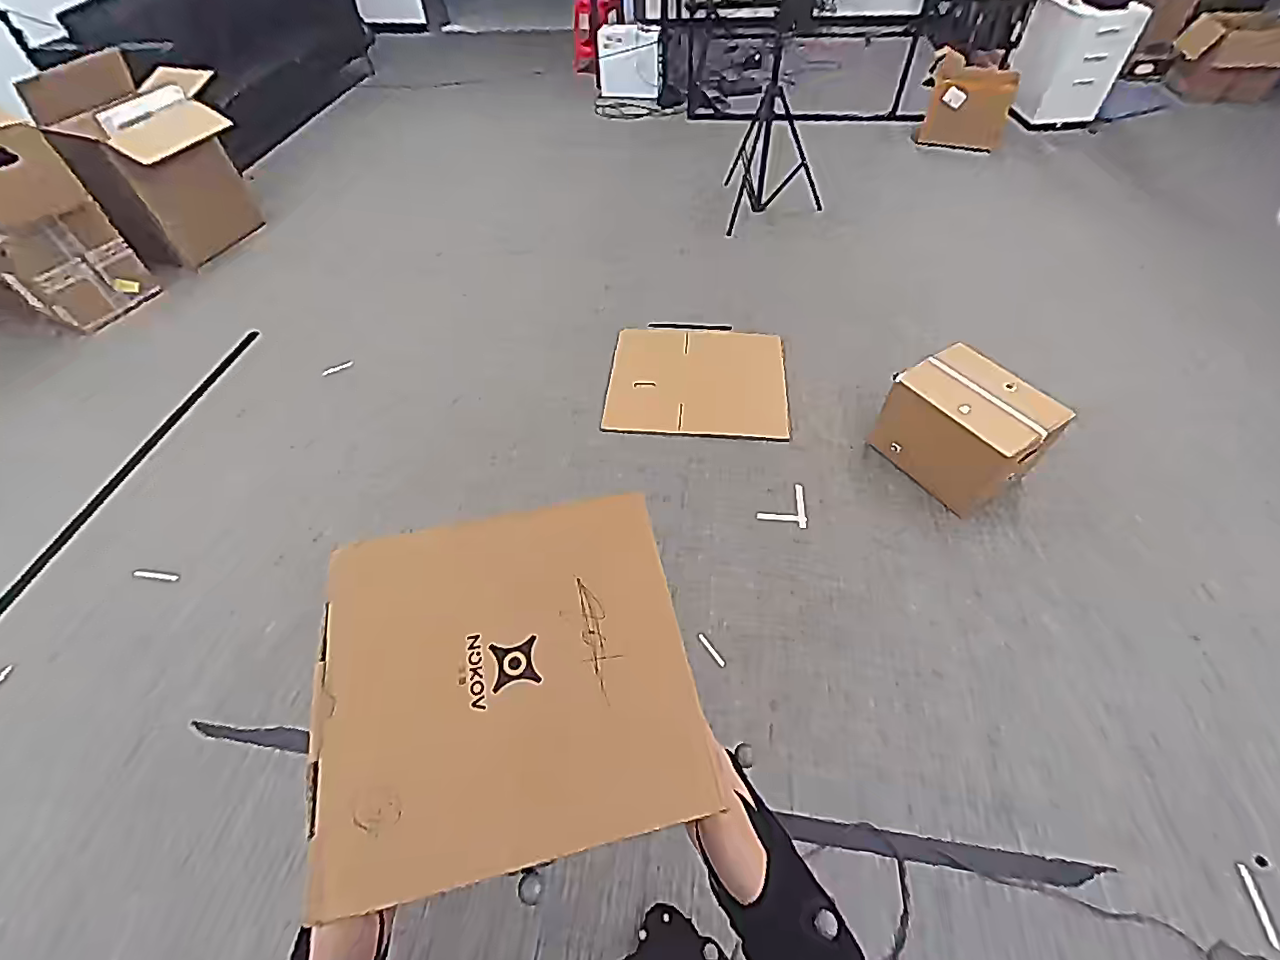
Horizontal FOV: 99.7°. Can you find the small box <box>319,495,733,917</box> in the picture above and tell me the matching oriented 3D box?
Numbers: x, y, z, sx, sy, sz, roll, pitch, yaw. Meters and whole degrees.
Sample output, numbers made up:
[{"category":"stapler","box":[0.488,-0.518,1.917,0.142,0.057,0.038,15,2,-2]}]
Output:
[{"category":"small box","box":[-0.063,0.133,0.331,0.179,0.176,0.168,-10,60,-10]}]
